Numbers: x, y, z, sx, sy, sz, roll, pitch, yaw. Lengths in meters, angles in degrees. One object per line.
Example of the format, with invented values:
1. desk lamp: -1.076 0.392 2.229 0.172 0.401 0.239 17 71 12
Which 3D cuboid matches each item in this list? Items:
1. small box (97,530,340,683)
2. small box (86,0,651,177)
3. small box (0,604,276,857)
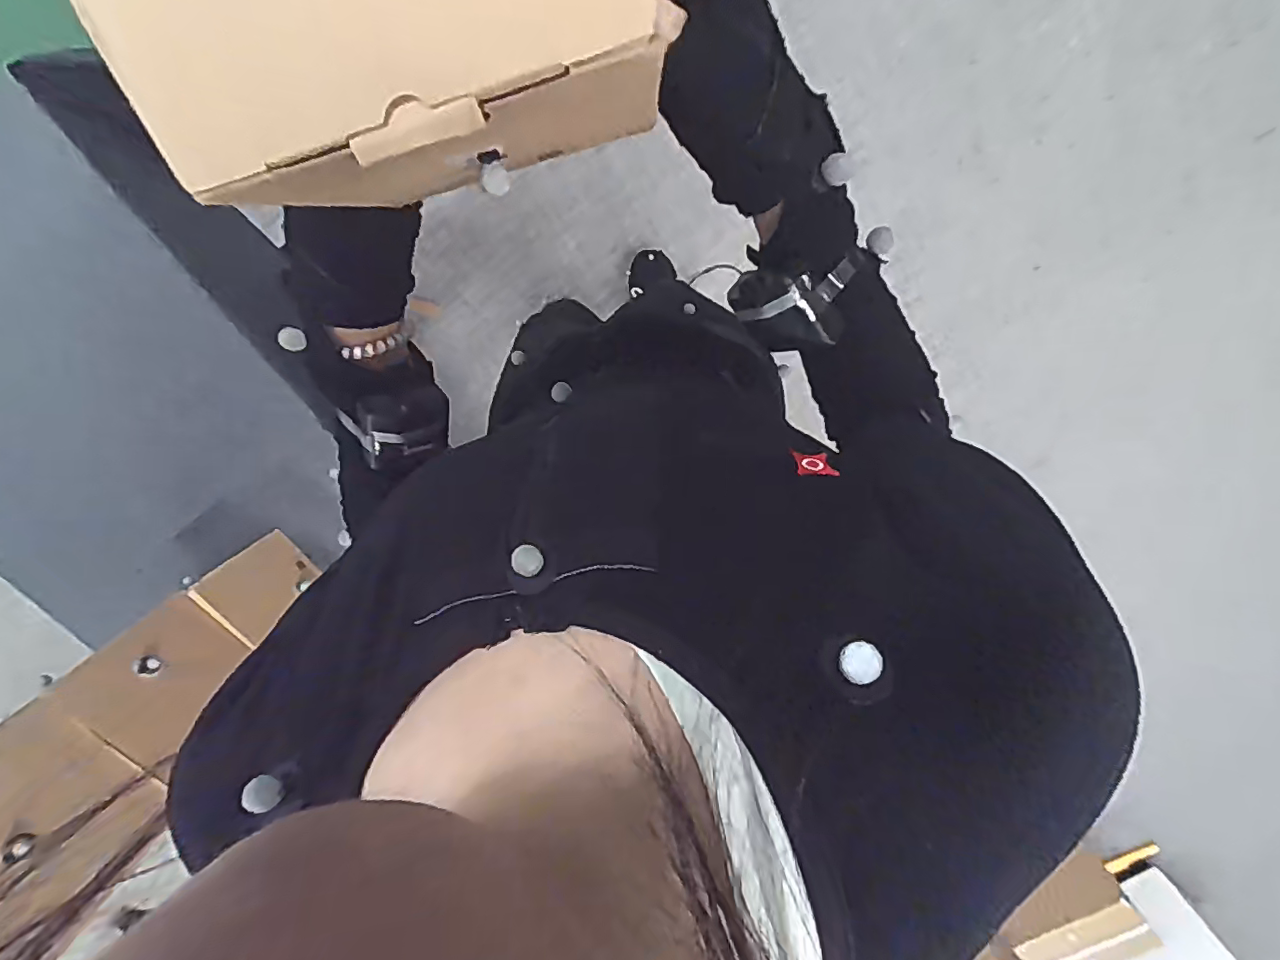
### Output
1. small box: -0.573 0.202 0.760 0.179 0.176 0.168 -30 108 11
2. small box: -0.092 -0.230 0.204 0.168 0.176 0.179 -13 116 6
3. small box: -0.575 0.266 0.610 0.168 0.176 0.179 -32 108 13
